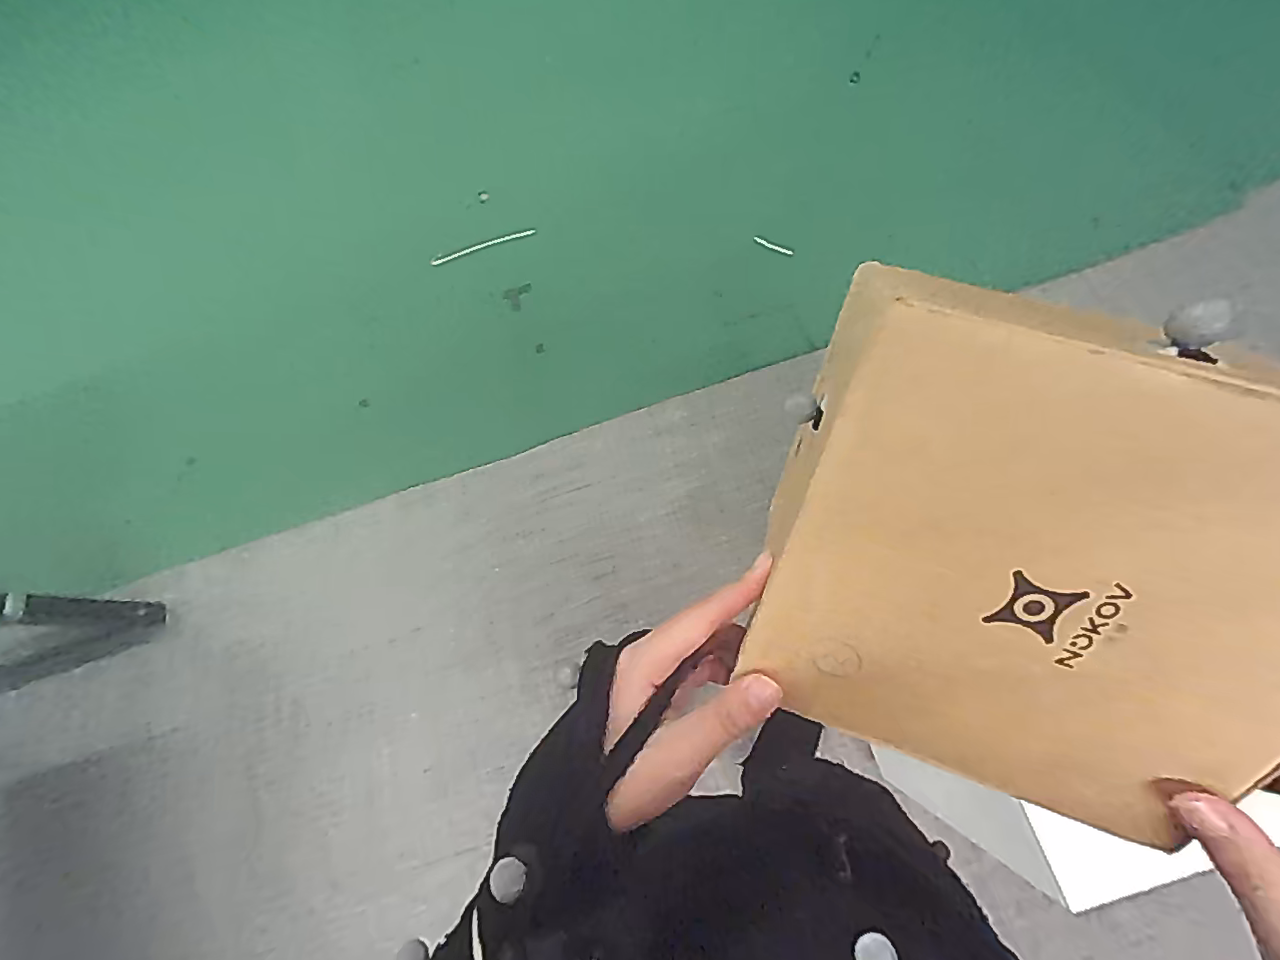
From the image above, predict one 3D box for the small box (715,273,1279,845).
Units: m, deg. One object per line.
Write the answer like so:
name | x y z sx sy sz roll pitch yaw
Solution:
small box | 0.151 0.008 0.249 0.179 0.176 0.168 17 117 10
